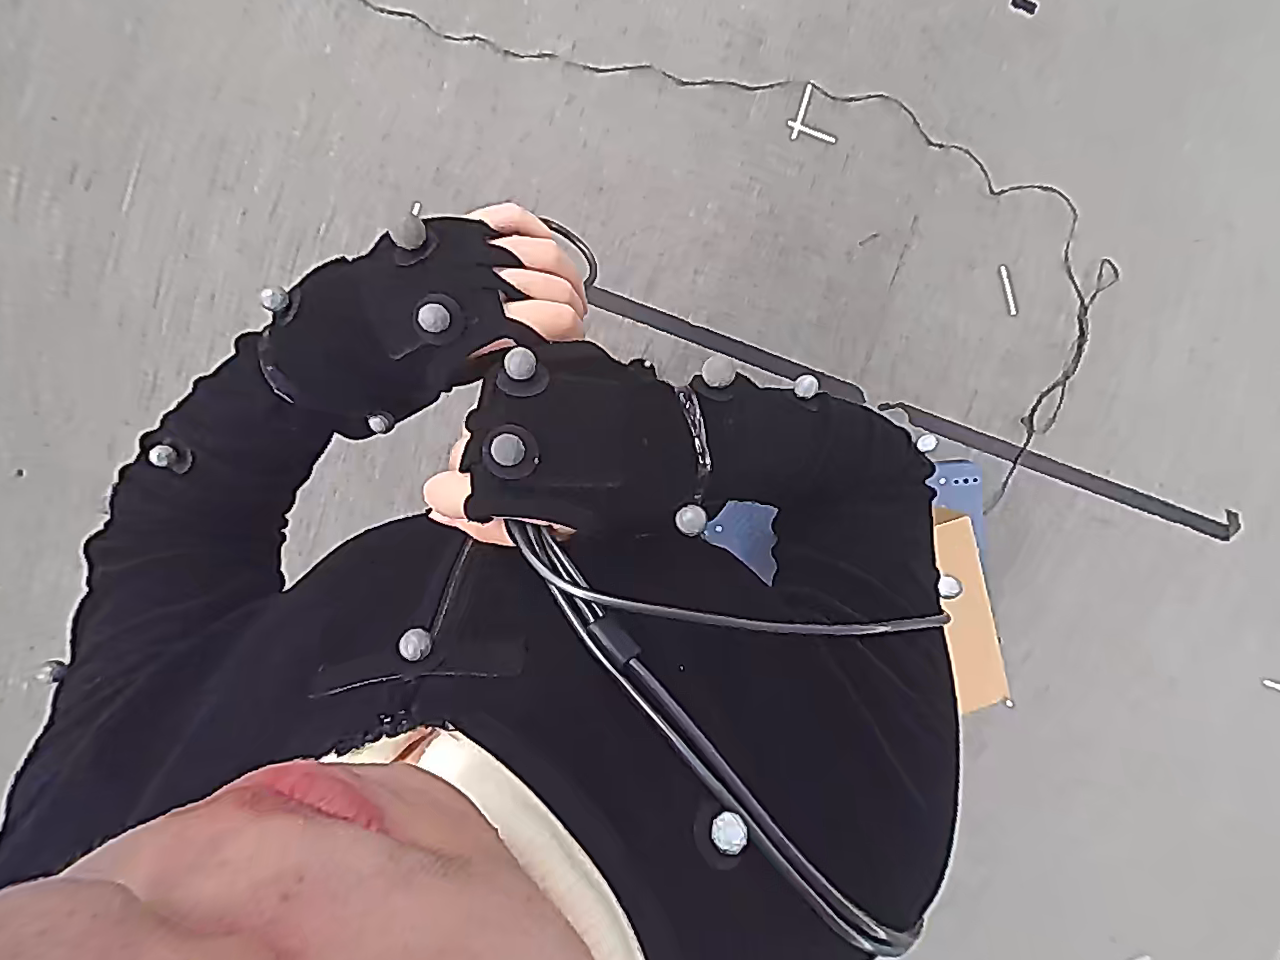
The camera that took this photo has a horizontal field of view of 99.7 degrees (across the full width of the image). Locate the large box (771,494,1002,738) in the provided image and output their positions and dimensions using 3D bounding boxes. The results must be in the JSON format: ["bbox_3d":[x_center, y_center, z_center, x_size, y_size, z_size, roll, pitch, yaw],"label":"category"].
[{"bbox_3d":[0.535,0.280,1.232,0.320,0.320,0.408,-17,97,-1],"label":"large box"}]
